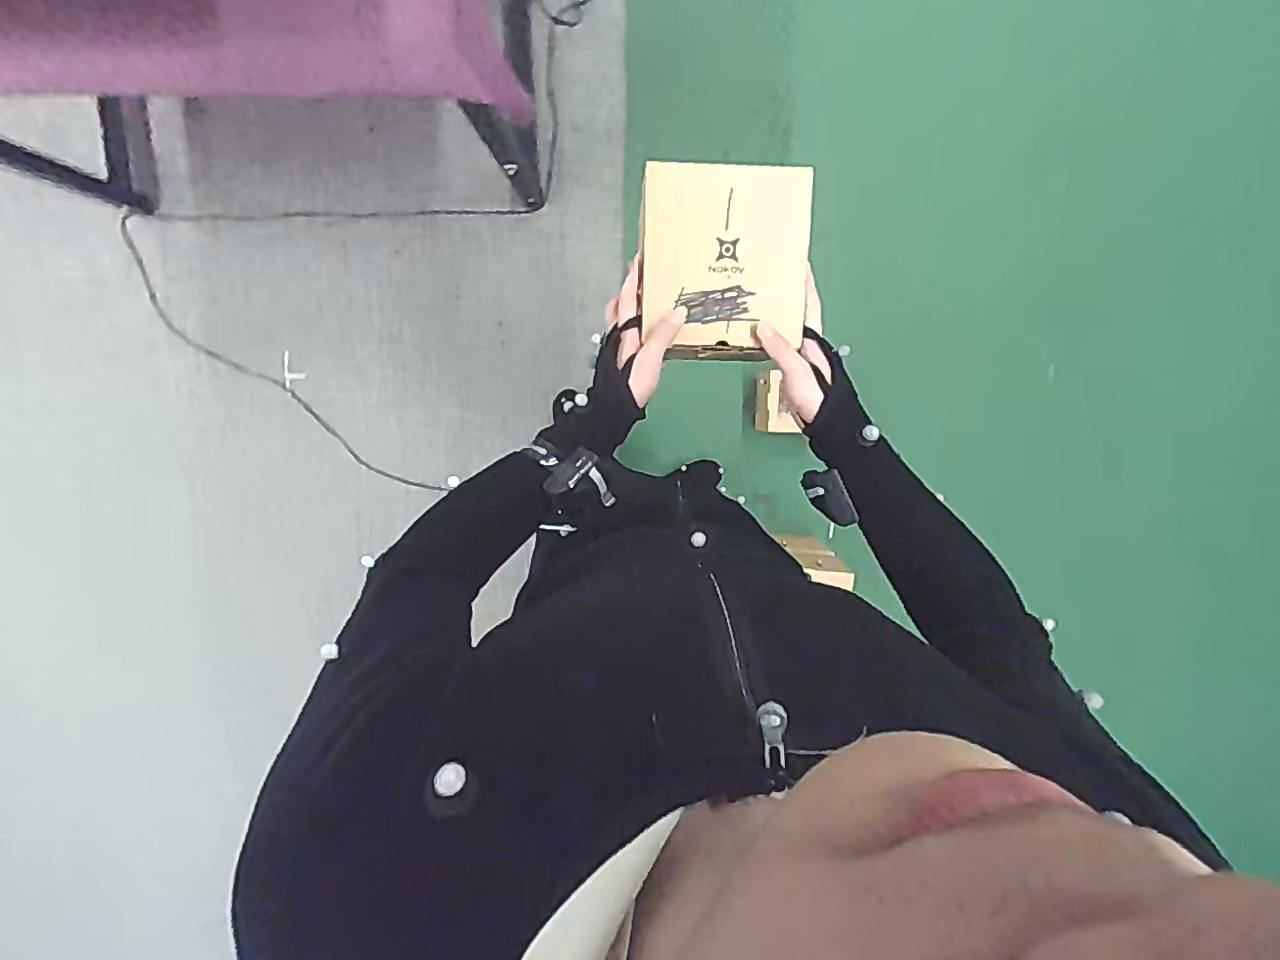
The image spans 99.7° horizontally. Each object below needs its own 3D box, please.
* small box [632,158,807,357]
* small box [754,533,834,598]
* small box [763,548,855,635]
[{"bbox_3d":[0.076,-0.232,0.606,0.168,0.176,0.179,0,99,-2],"label":"small box"},{"bbox_3d":[0.442,0.256,1.574,0.179,0.176,0.168,5,99,1],"label":"small box"},{"bbox_3d":[0.433,0.285,1.412,0.179,0.176,0.168,7,99,1],"label":"small box"}]
